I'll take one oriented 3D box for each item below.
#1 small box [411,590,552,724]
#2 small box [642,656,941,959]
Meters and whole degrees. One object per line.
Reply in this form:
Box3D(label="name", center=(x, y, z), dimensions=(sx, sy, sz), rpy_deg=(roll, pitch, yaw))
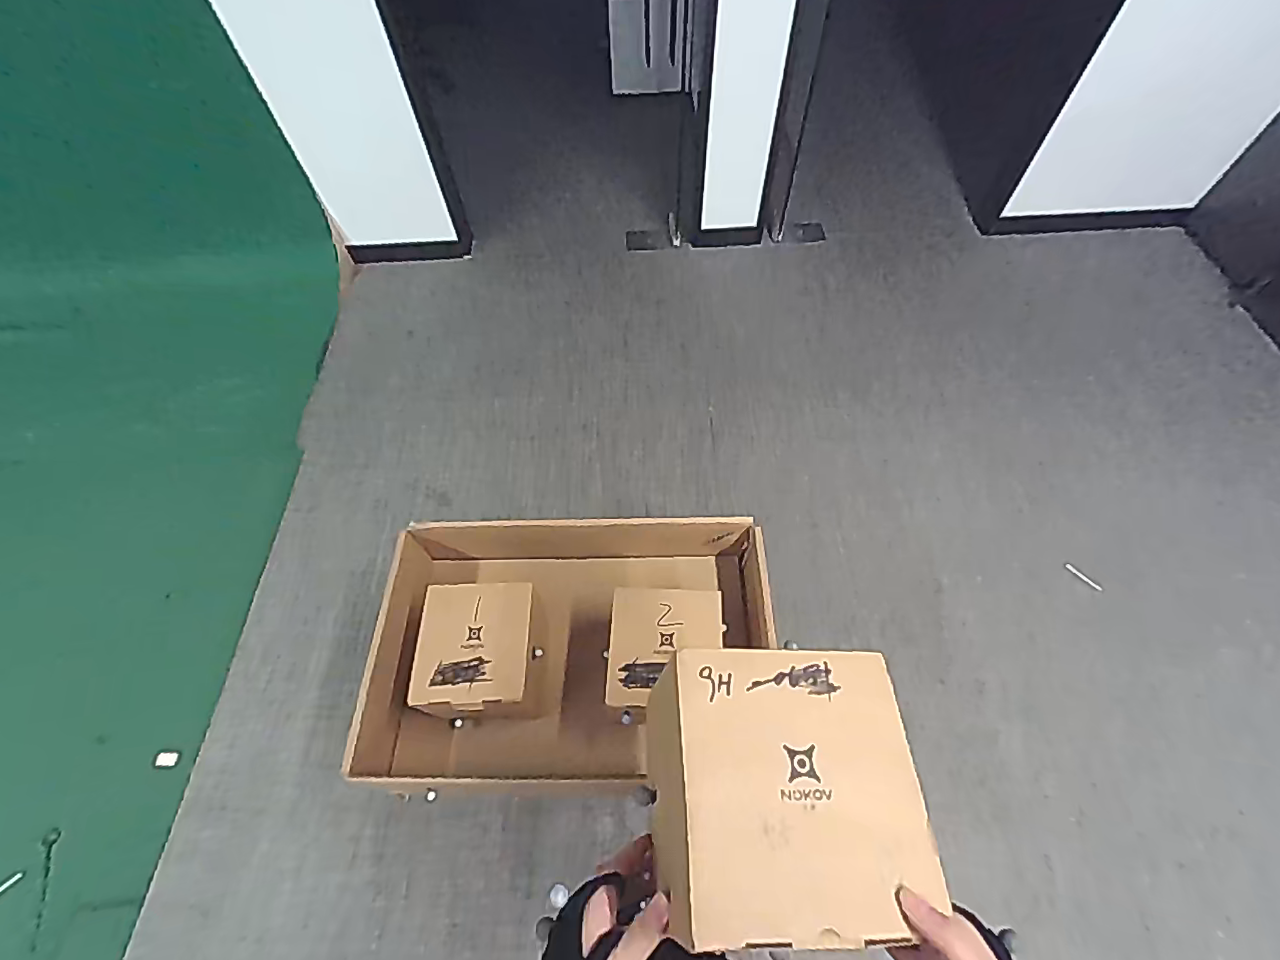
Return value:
Box3D(label="small box", center=(-0.240, 0.290, 0.867), dimensions=(0.168, 0.176, 0.179), rpy_deg=(-3, 58, 1))
Box3D(label="small box", center=(0.093, 0.252, 0.430), dimensions=(0.168, 0.176, 0.179), rpy_deg=(3, 56, -6))
